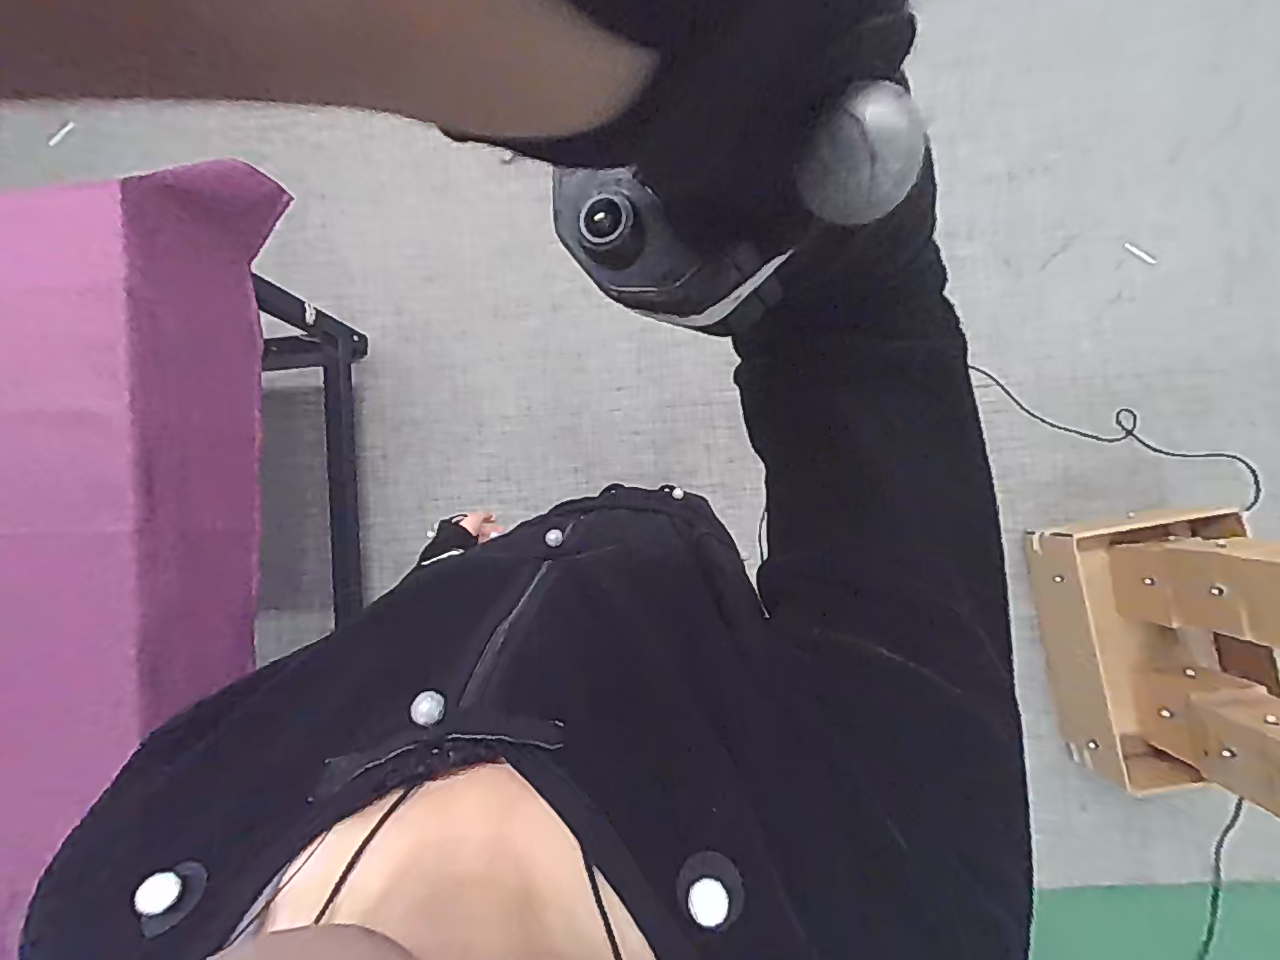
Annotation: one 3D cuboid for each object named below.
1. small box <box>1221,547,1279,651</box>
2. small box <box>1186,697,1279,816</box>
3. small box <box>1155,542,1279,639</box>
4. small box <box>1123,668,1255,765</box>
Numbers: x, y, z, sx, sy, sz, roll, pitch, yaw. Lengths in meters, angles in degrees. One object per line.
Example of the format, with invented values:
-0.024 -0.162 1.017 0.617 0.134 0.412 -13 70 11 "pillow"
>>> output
1.244 0.221 0.990 0.168 0.176 0.179 -11 87 5 "small box"
1.307 0.571 1.134 0.179 0.176 0.168 -6 88 2 "small box"
1.256 0.226 1.152 0.168 0.176 0.179 -6 89 5 "small box"
1.316 0.563 1.299 0.168 0.176 0.179 -6 87 3 "small box"
